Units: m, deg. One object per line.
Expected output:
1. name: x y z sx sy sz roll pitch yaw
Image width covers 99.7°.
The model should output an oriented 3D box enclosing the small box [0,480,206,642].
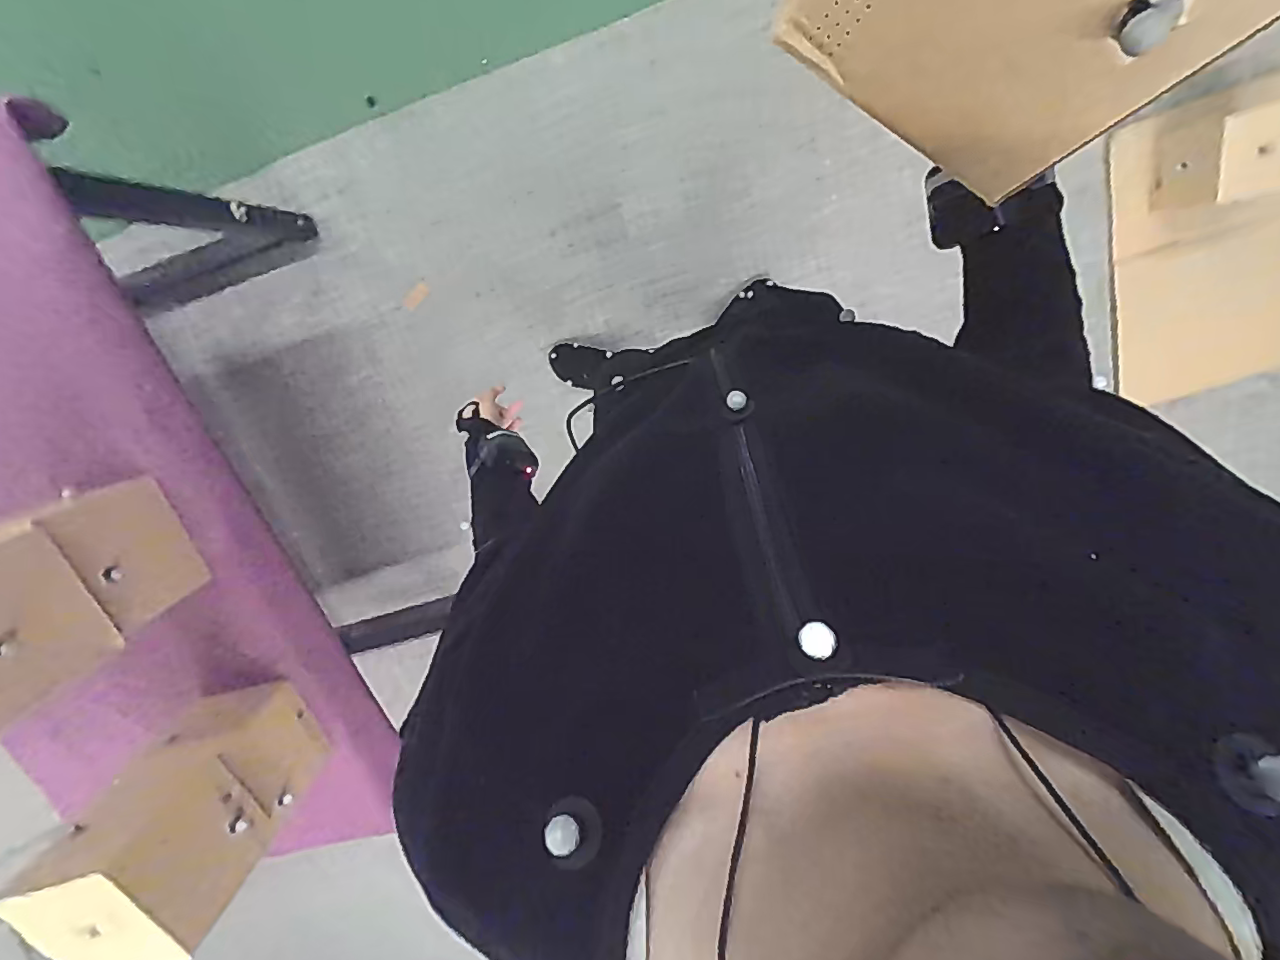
1. small box: -0.760 0.121 0.741 0.168 0.176 0.179 -14 109 7

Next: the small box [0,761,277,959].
1. small box: -0.634 0.506 0.705 0.179 0.176 0.168 -20 109 9

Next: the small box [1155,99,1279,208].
1. small box: 1.277 -0.704 1.170 0.179 0.176 0.168 -12 110 5

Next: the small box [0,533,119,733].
1. small box: -0.748 0.183 0.589 0.168 0.176 0.179 -15 110 7

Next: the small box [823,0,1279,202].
1. small box: 0.202 -0.277 0.236 0.176 0.179 0.168 23 73 -16
